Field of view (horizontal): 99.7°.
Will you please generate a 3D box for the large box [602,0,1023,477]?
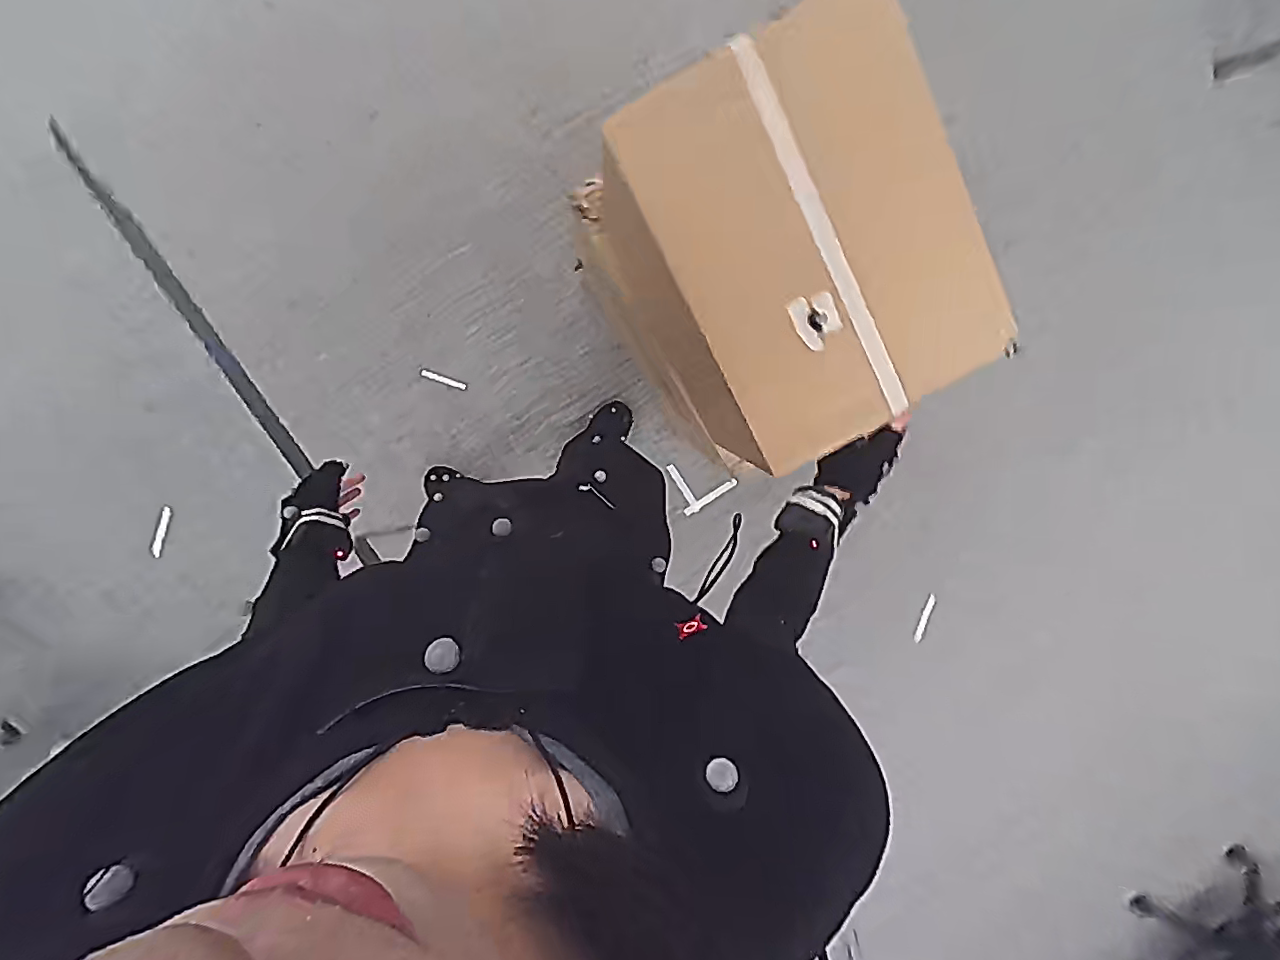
[{"bbox_3d":[0.181,-0.271,0.700,0.320,0.320,0.408,-29,102,2],"label":"large box"}]
